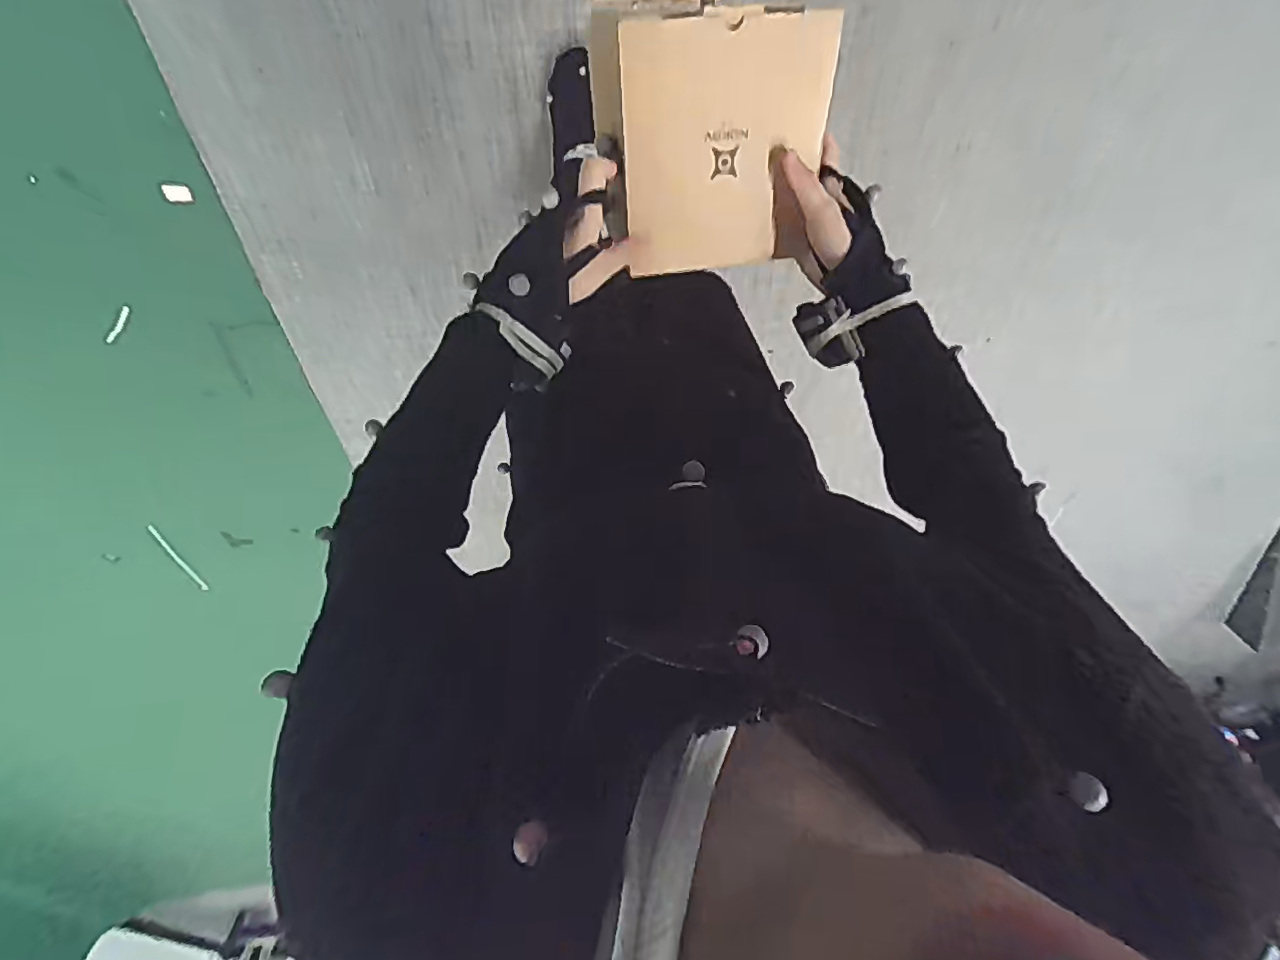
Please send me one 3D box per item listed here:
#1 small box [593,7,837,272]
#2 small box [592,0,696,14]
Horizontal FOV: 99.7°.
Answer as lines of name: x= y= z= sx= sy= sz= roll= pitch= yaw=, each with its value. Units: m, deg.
small box: x=0.052 y=-0.312 z=0.493 sx=0.168 sy=0.176 sz=0.179 roll=-8 pitch=131 yaw=-6
small box: x=0.000 y=-0.869 z=0.867 sx=0.168 sy=0.176 sz=0.179 roll=-6 pitch=133 yaw=-5
